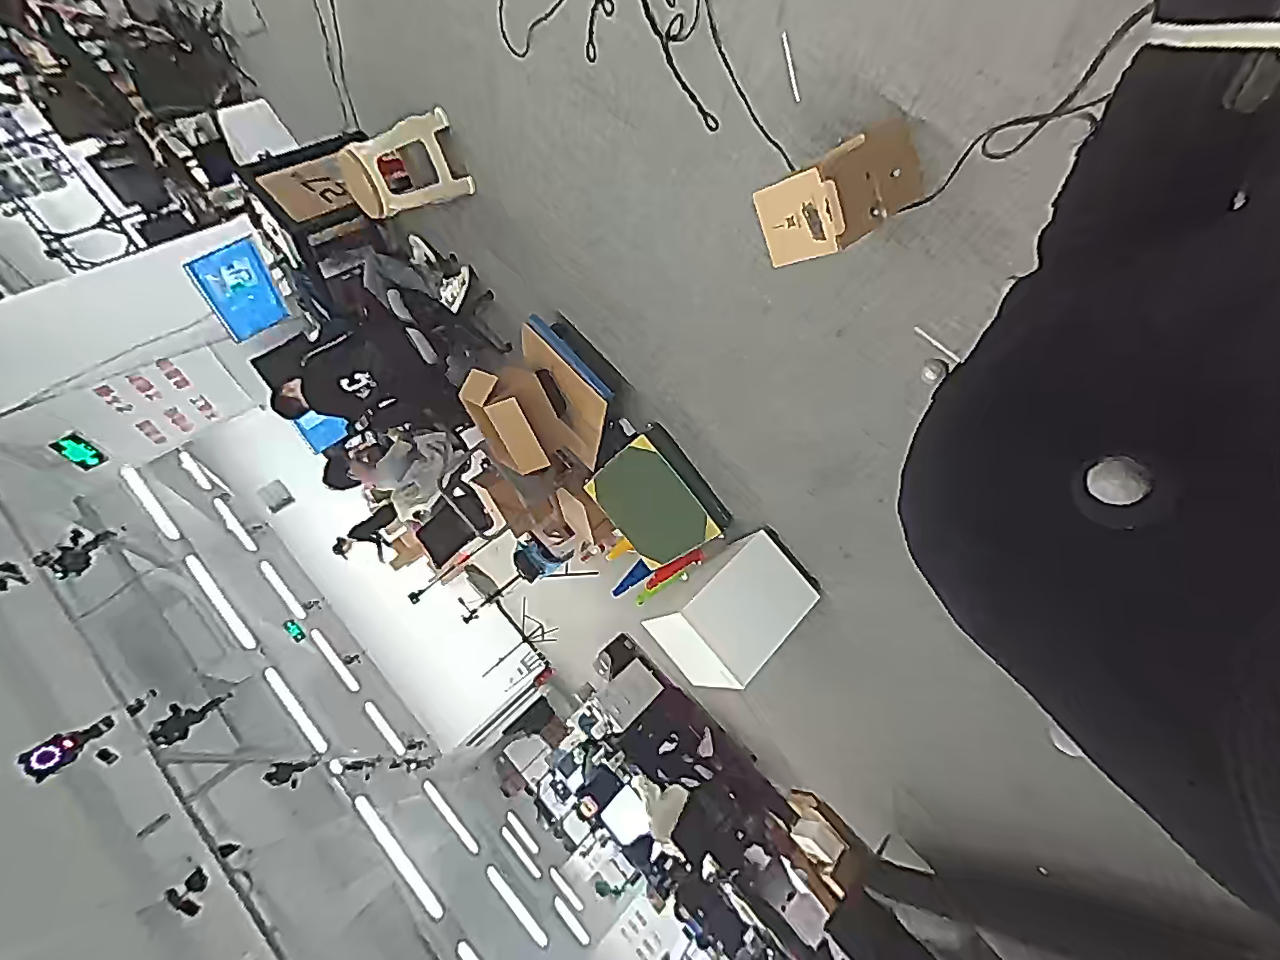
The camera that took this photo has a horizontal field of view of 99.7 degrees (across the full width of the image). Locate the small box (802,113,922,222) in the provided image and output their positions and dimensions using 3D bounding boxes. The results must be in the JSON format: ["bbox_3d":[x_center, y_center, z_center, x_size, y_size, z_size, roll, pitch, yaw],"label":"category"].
[{"bbox_3d":[0.504,-0.682,1.219,0.168,0.176,0.179,5,128,57],"label":"small box"}]

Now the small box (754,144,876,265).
[{"bbox_3d":[0.382,-0.587,1.158,0.179,0.176,0.168,12,133,54],"label":"small box"}]
